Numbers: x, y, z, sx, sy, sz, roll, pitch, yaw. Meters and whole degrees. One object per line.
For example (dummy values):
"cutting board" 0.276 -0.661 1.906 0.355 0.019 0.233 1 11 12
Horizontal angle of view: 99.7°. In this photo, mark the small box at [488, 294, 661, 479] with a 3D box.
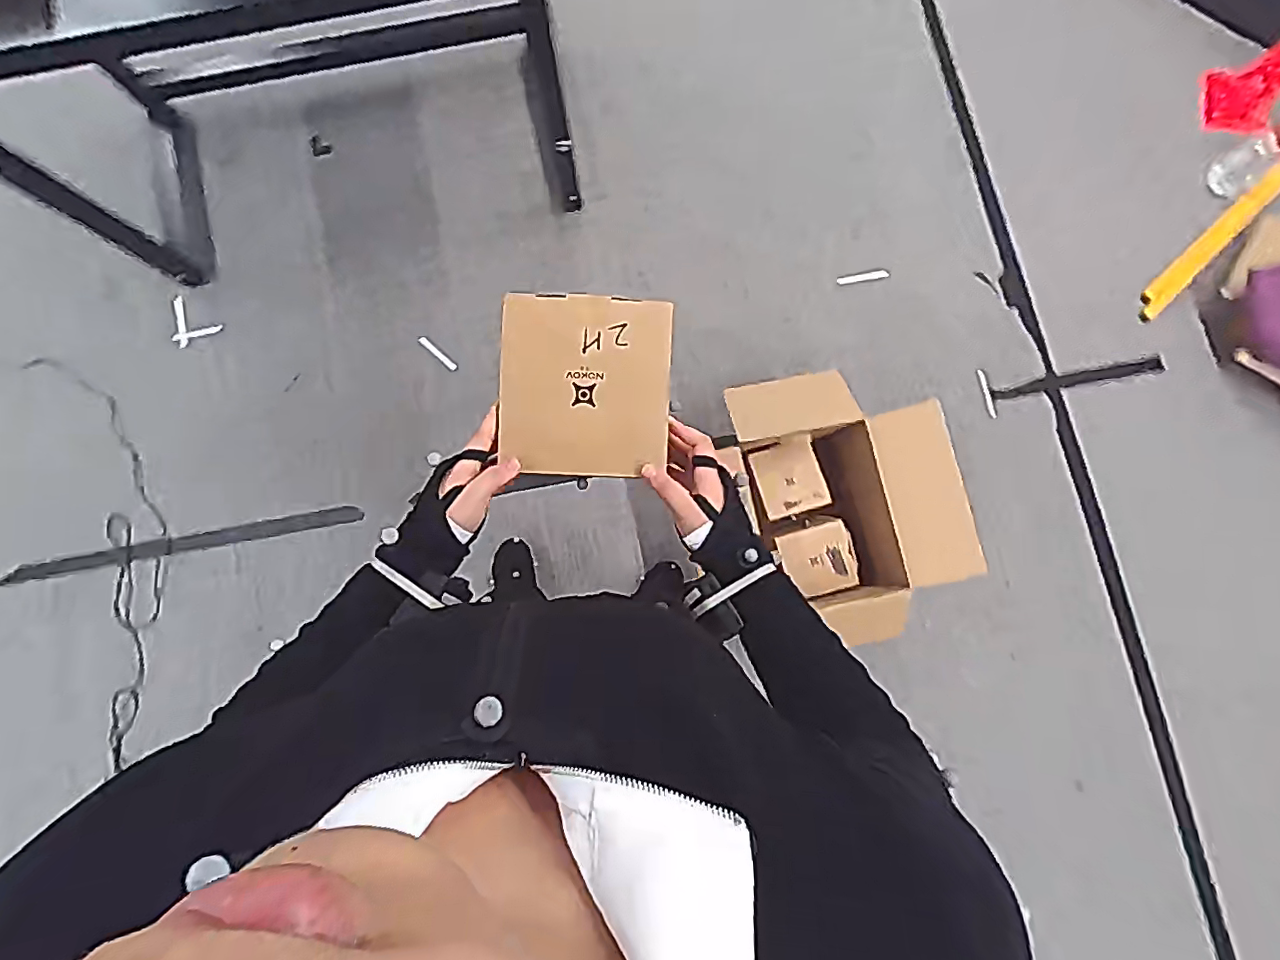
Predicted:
"small box" -0.065 -0.091 0.601 0.168 0.176 0.179 1 90 -2
